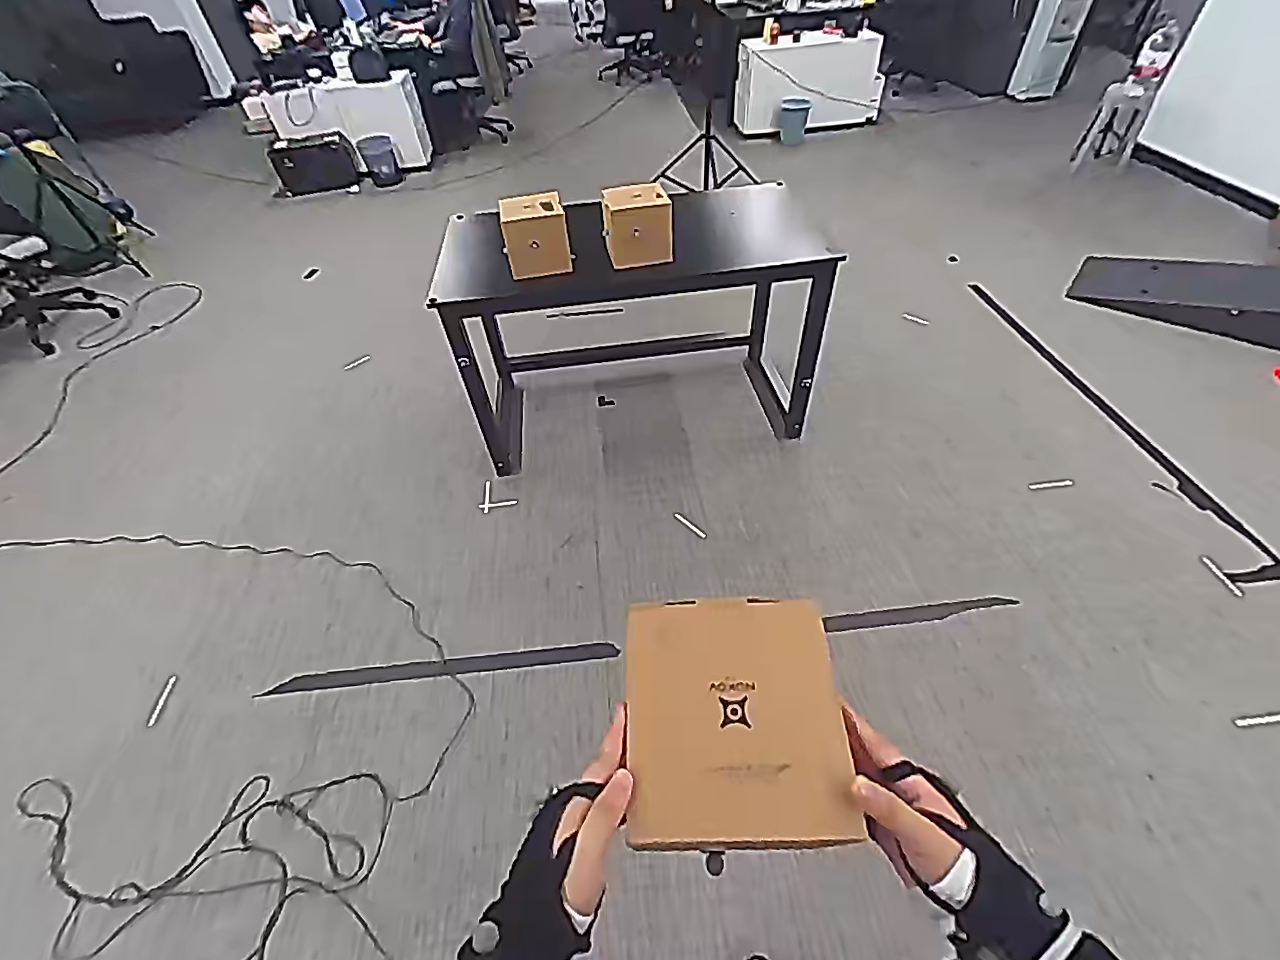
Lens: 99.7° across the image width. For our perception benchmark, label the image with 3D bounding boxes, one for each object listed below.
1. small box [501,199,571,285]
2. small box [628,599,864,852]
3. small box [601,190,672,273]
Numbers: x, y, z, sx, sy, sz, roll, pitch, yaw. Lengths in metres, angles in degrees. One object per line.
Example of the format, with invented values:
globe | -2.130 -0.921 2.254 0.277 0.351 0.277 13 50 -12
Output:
small box | -0.301 -0.697 1.588 0.179 0.176 0.168 -11 47 -5
small box | 0.075 0.222 0.484 0.168 0.176 0.179 -1 54 1
small box | -0.008 -0.729 1.597 0.179 0.176 0.168 -11 47 -5
